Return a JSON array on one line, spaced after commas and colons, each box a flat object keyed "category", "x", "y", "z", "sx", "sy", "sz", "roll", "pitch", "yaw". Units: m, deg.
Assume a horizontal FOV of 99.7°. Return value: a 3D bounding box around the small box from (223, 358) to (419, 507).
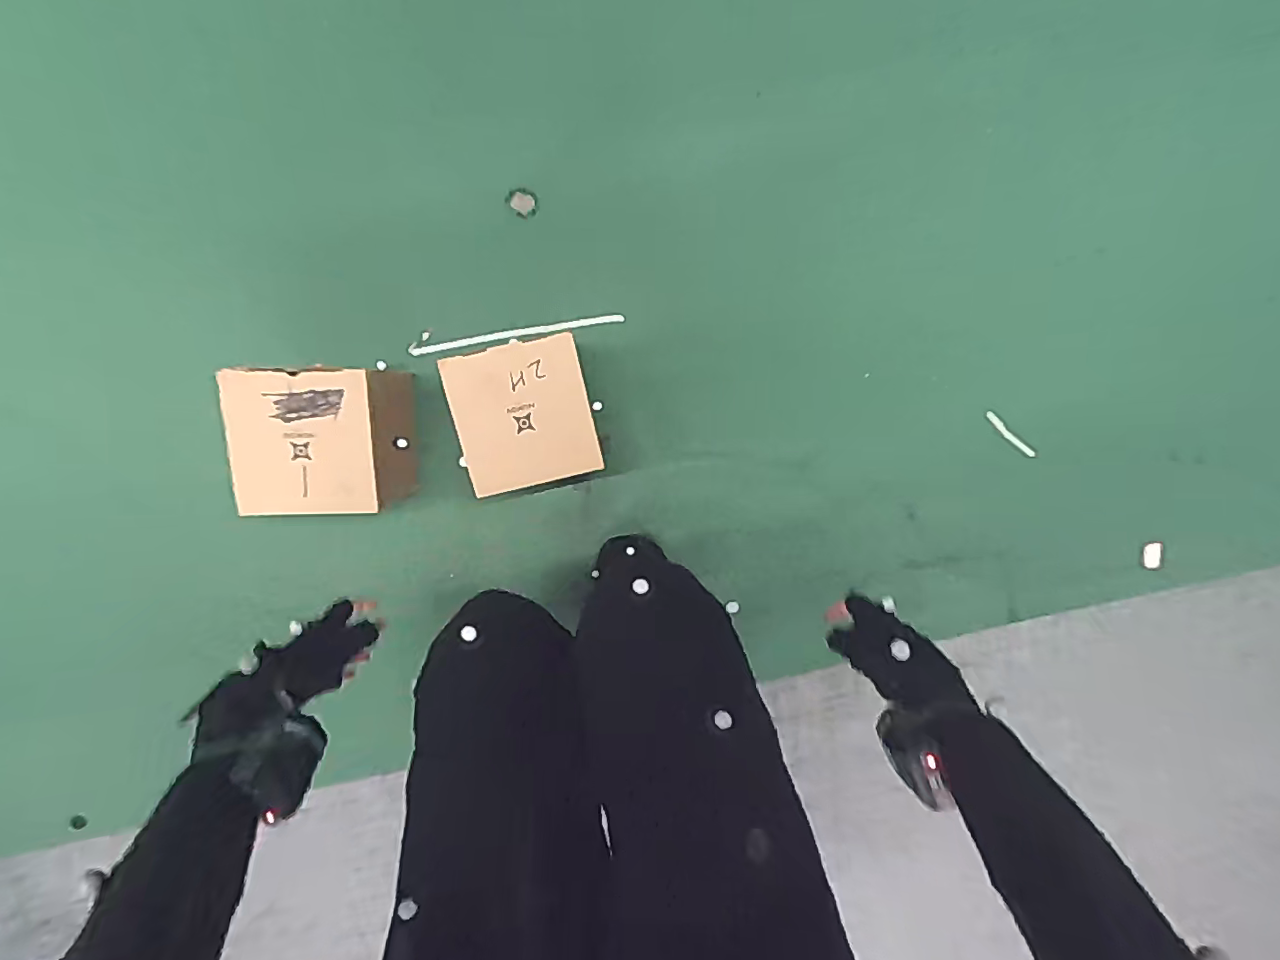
[{"category": "small box", "x": -0.403, "y": -0.066, "z": 0.714, "sx": 0.168, "sy": 0.176, "sz": 0.179, "roll": 0, "pitch": 101, "yaw": -6}]
